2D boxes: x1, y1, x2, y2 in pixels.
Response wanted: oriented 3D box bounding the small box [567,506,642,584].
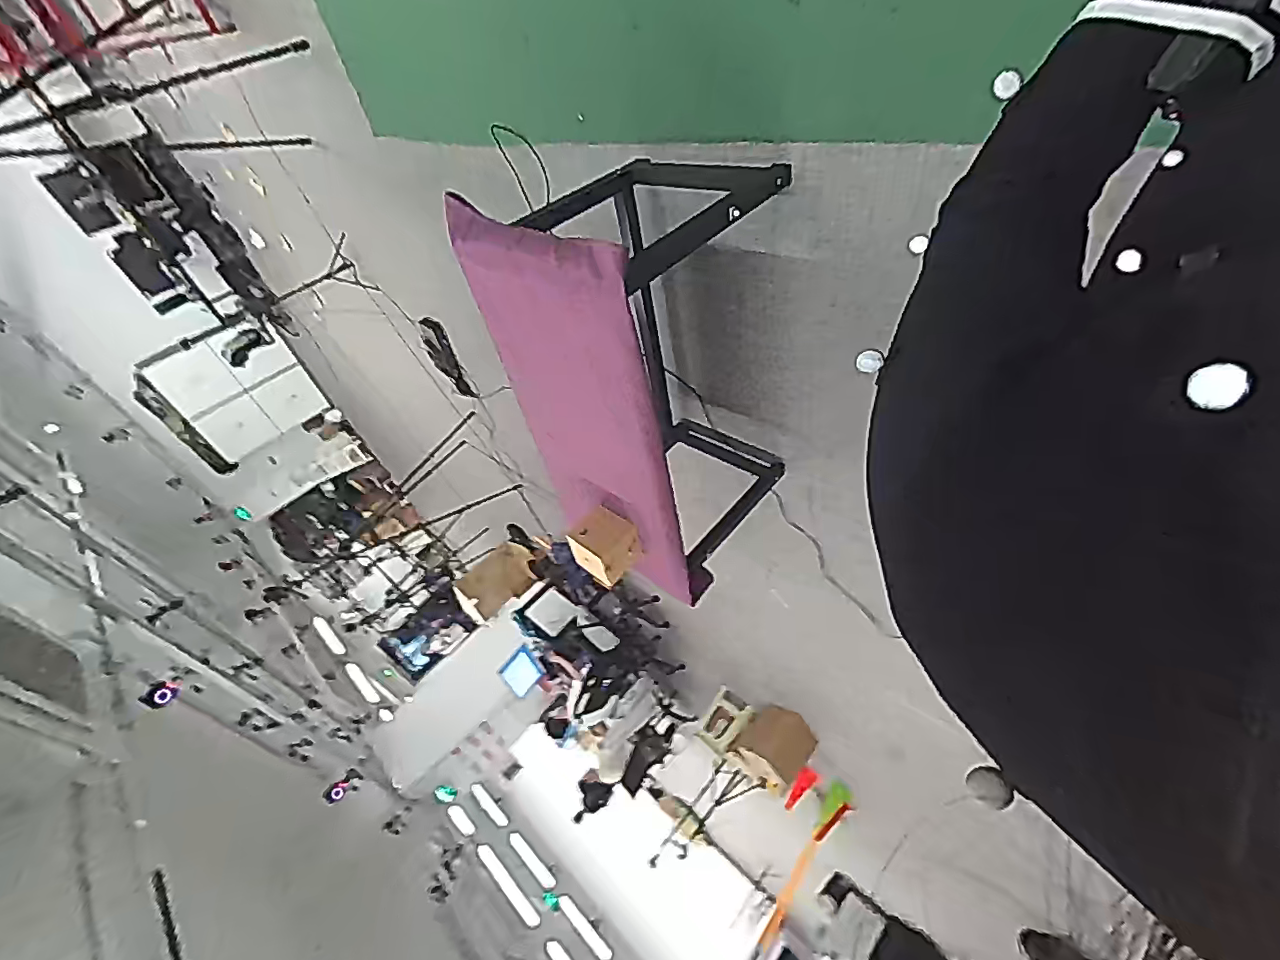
[{"bbox_3d":[-0.120,0.217,1.864,0.179,0.176,0.168,29,148,34],"label":"small box"}]
